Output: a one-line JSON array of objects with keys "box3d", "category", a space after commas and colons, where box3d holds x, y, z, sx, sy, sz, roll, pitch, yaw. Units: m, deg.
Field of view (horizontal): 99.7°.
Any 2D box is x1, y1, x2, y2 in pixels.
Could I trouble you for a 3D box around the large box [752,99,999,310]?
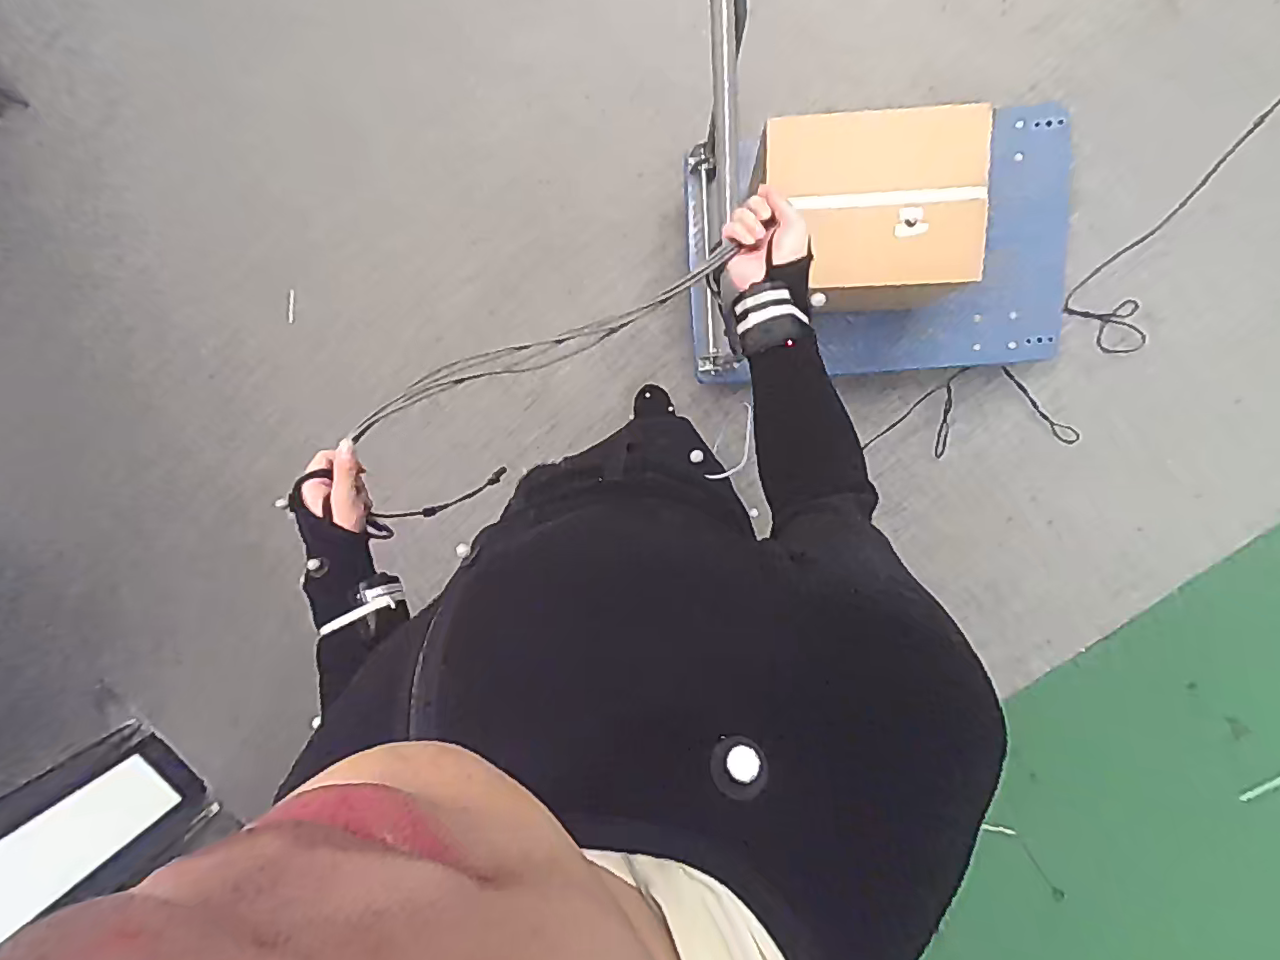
[{"box3d": [0.457, -0.550, 1.149, 0.408, 0.320, 0.320, 1, 100, 5], "category": "large box"}]
